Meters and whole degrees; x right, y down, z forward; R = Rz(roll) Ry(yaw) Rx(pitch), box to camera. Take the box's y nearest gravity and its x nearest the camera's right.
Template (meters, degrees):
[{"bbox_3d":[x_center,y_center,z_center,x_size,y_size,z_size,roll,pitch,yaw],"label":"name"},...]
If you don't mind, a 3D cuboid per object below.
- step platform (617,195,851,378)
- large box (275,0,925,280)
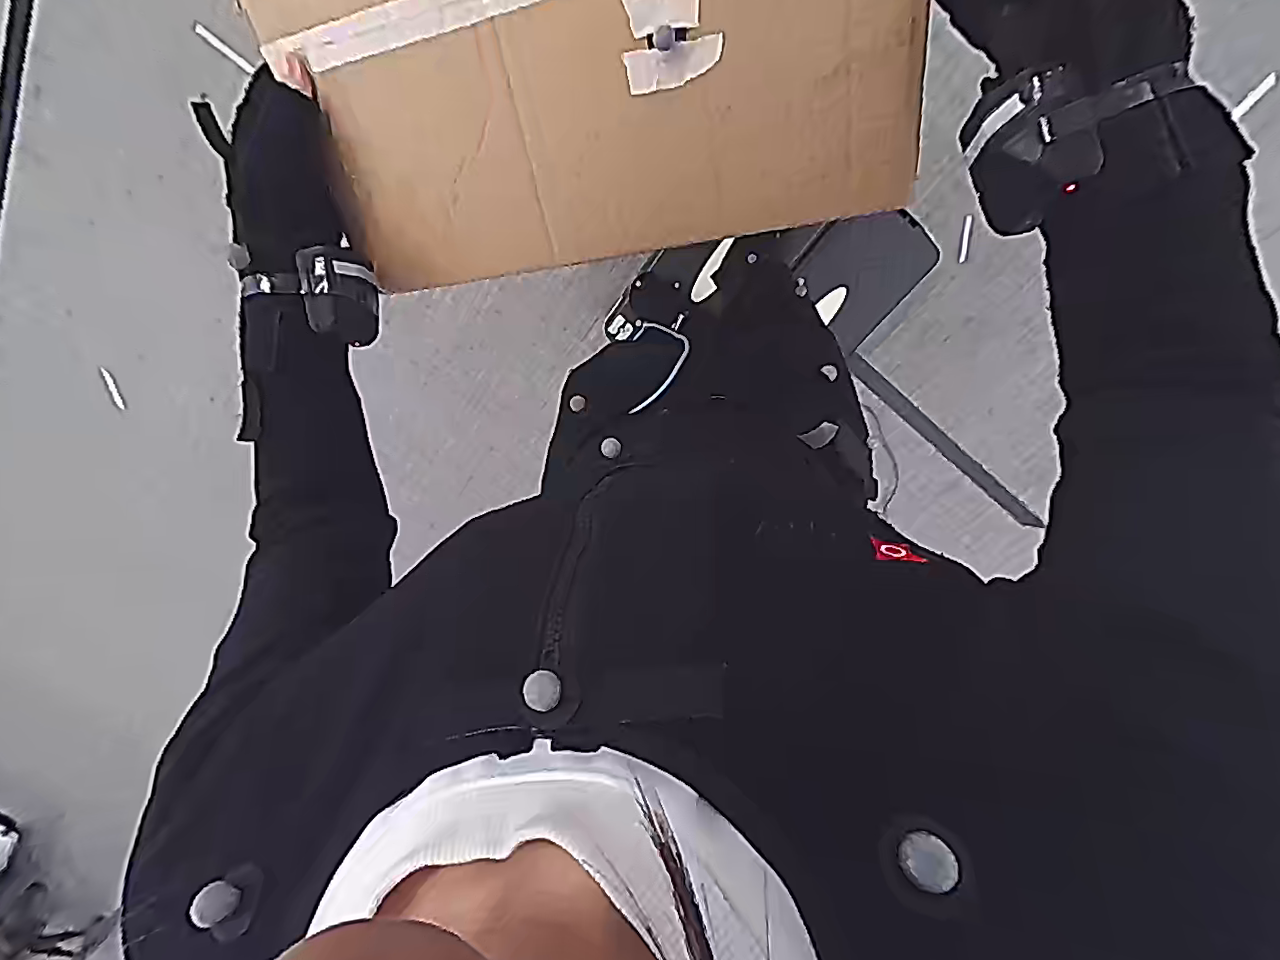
[{"bbox_3d":[0.236,-0.587,1.321,0.286,0.204,0.684,35,112,-11],"label":"step platform"},{"bbox_3d":[-0.018,-0.385,0.438,0.408,0.320,0.320,-3,124,15],"label":"large box"}]
